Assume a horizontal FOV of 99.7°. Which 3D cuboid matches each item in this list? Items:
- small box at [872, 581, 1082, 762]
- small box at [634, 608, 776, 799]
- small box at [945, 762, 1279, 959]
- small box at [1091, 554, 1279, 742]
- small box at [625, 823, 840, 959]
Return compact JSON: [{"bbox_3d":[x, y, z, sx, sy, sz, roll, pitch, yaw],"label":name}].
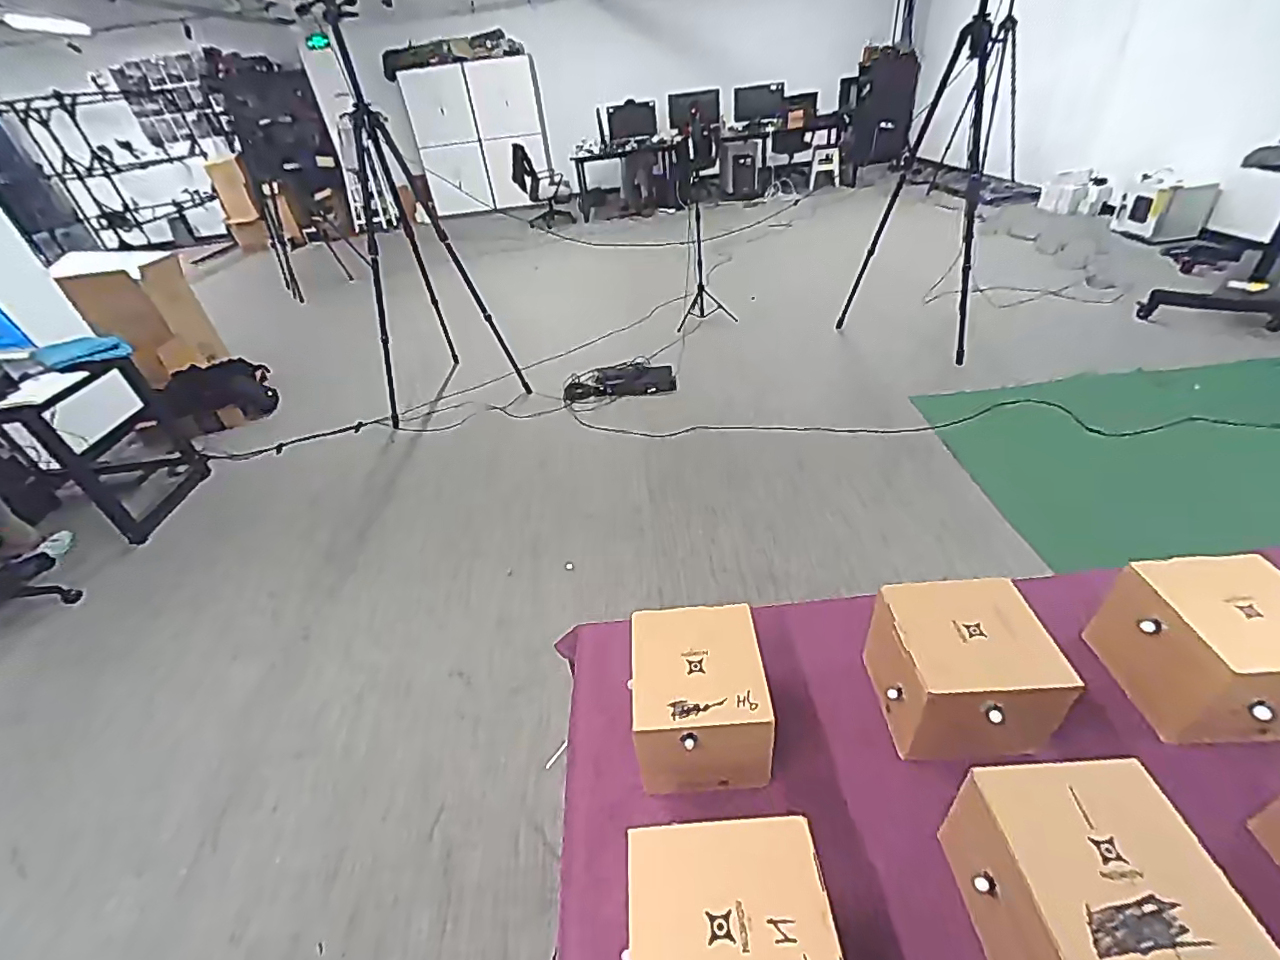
[{"bbox_3d":[0.425,0.258,0.724,0.179,0.176,0.168,-5,37,5],"label":"small box"},{"bbox_3d":[0.082,0.301,0.734,0.168,0.176,0.179,-6,36,3],"label":"small box"},{"bbox_3d":[0.427,0.404,0.522,0.168,0.176,0.179,-6,35,4],"label":"small box"},{"bbox_3d":[0.750,0.221,0.704,0.168,0.176,0.179,-5,35,5],"label":"small box"},{"bbox_3d":[0.084,0.446,0.498,0.179,0.176,0.168,-6,36,3],"label":"small box"}]
